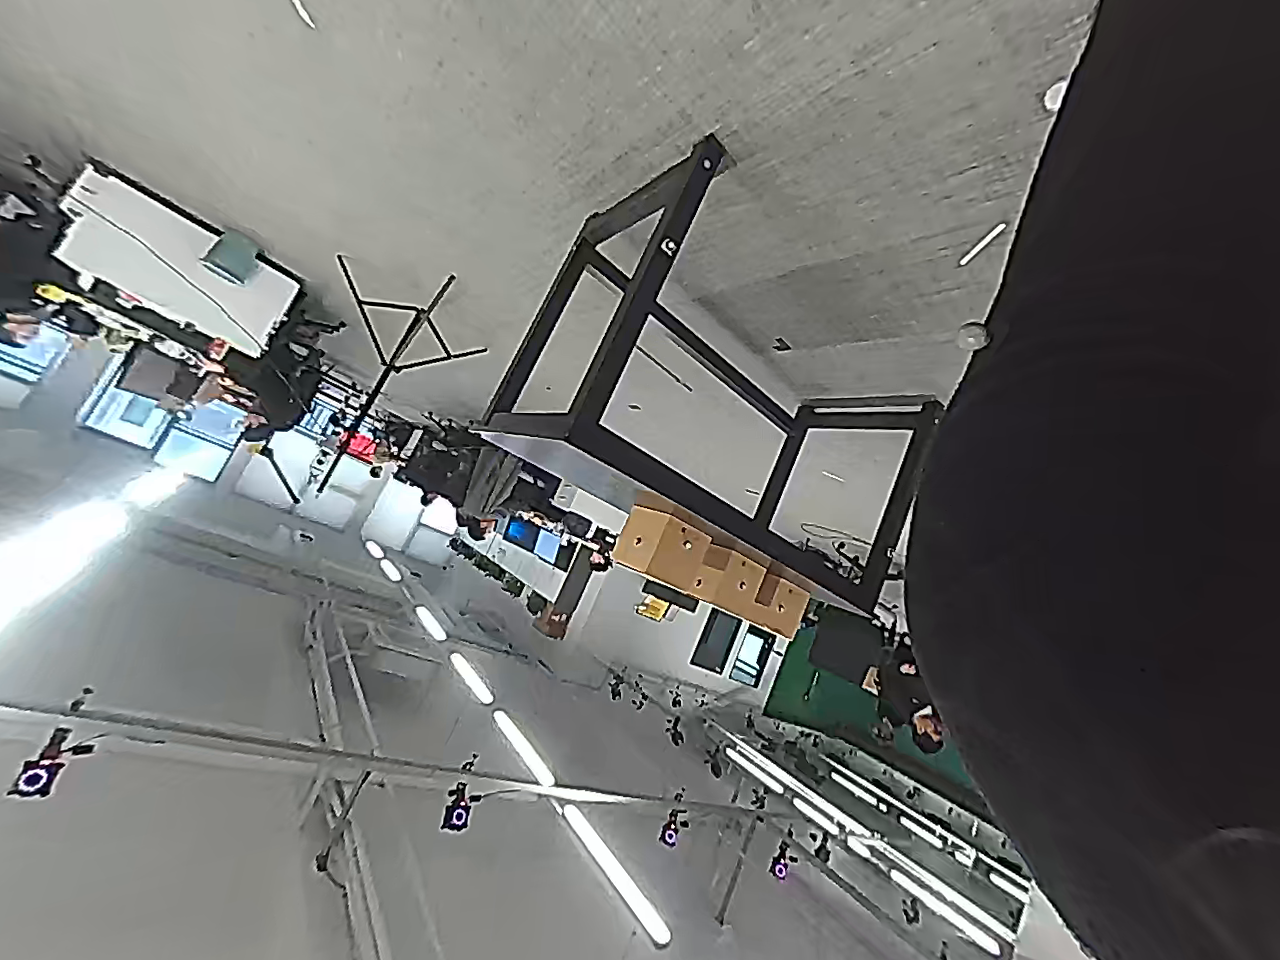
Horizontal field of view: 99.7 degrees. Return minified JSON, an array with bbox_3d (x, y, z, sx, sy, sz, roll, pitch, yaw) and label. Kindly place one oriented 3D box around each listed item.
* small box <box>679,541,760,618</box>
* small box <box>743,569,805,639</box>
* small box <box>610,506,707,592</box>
[{"bbox_3d":[0.240,0.292,1.626,0.168,0.176,0.179,31,169,-33],"label":"small box"},{"bbox_3d":[0.413,0.391,1.758,0.168,0.176,0.179,31,170,-32],"label":"small box"},{"bbox_3d":[0.054,0.181,1.473,0.168,0.176,0.179,30,169,-33],"label":"small box"}]
